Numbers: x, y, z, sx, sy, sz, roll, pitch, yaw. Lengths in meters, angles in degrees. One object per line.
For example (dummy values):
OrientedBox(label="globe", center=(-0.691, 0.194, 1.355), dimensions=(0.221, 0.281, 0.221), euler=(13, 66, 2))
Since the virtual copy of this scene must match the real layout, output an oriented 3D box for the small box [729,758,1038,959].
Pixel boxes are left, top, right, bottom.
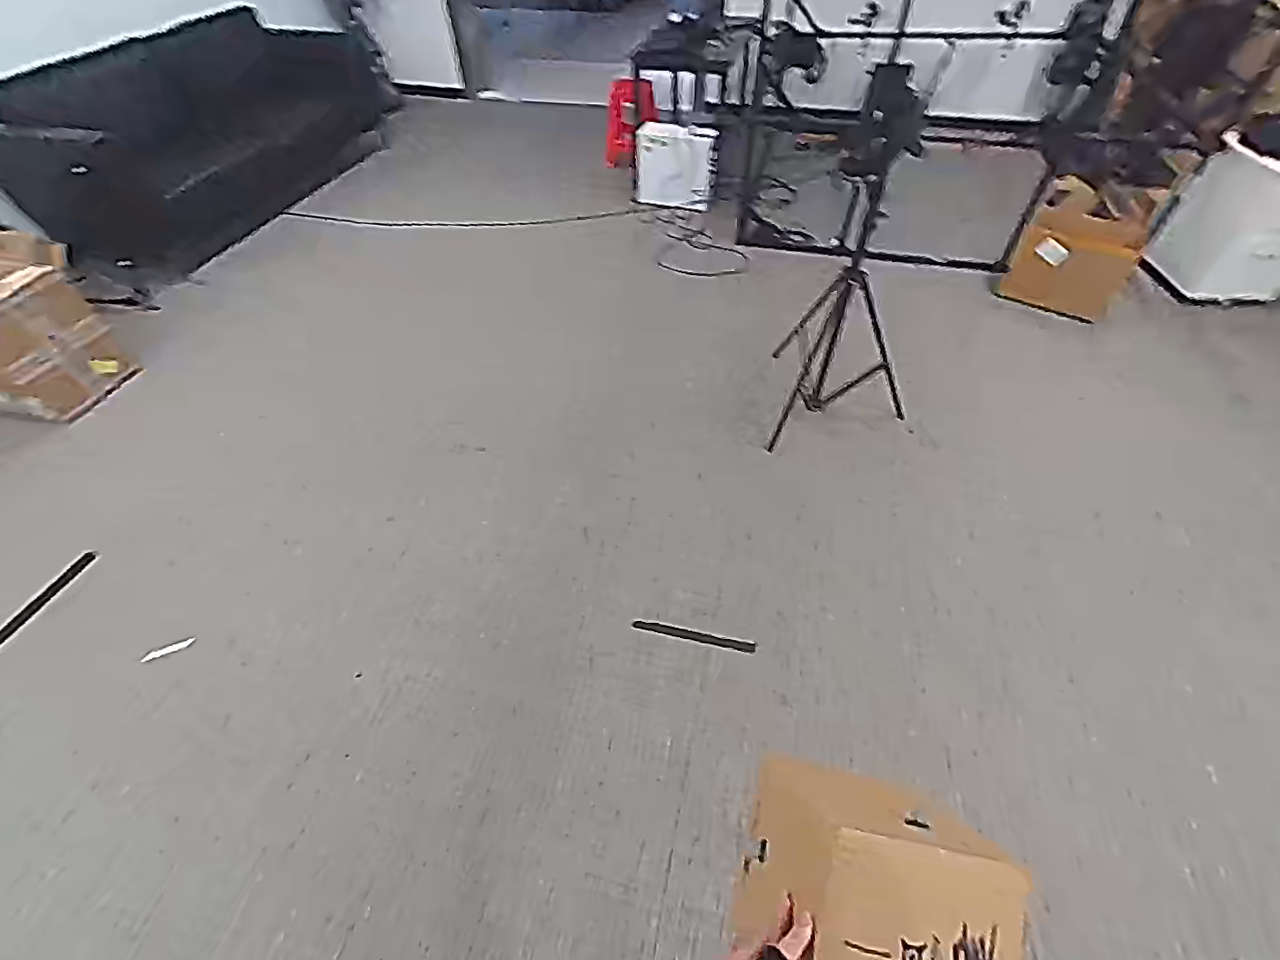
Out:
OrientedBox(label="small box", center=(0.201, 0.376, 0.486), dimensions=(0.179, 0.176, 0.168), euler=(17, 80, -5))
